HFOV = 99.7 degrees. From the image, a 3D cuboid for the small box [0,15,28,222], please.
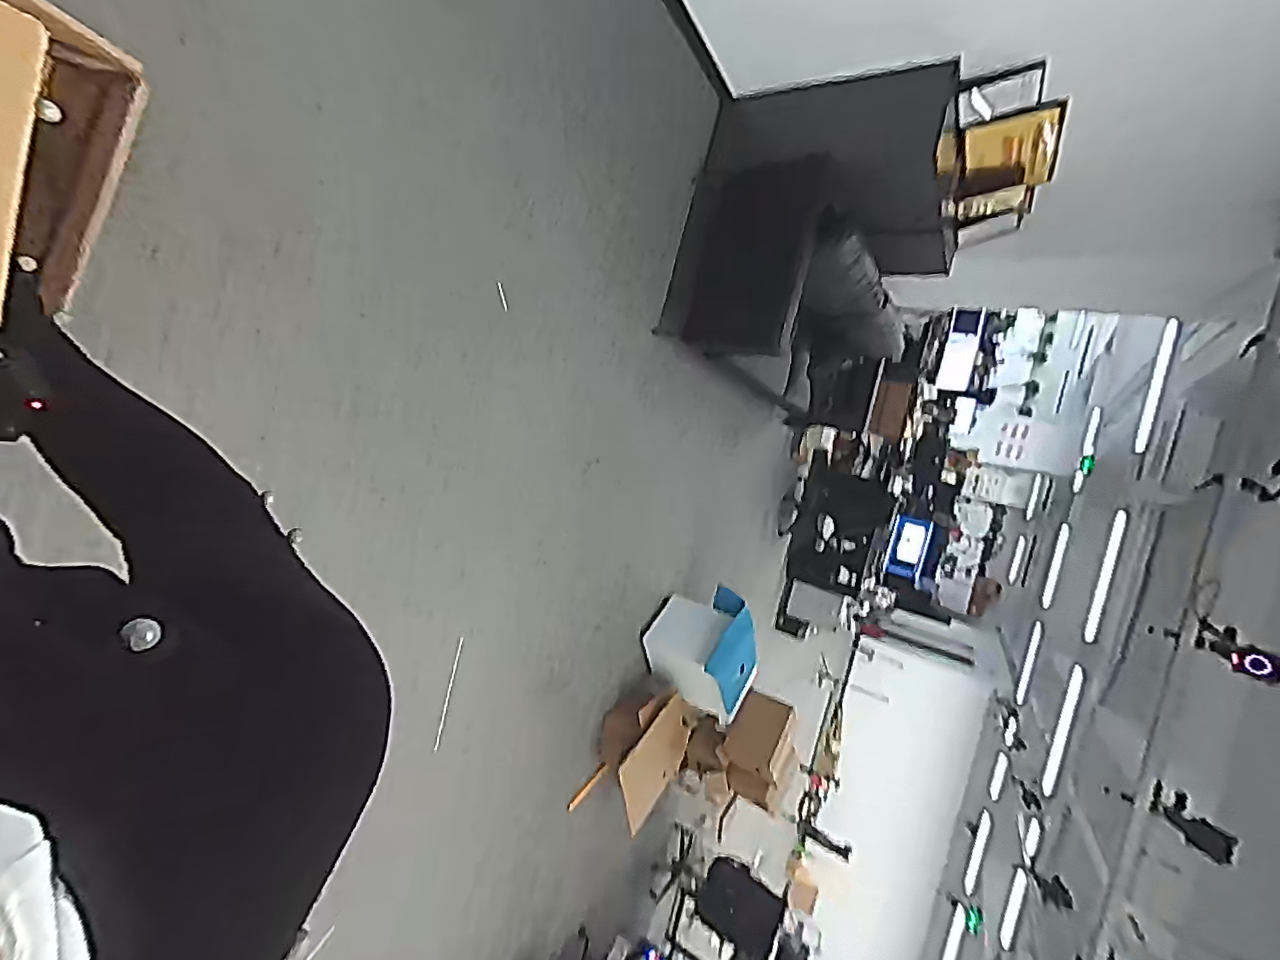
[{"bbox_3d":[-0.466,-0.195,0.278,0.168,0.176,0.179,4,106,-59],"label":"small box"}]
